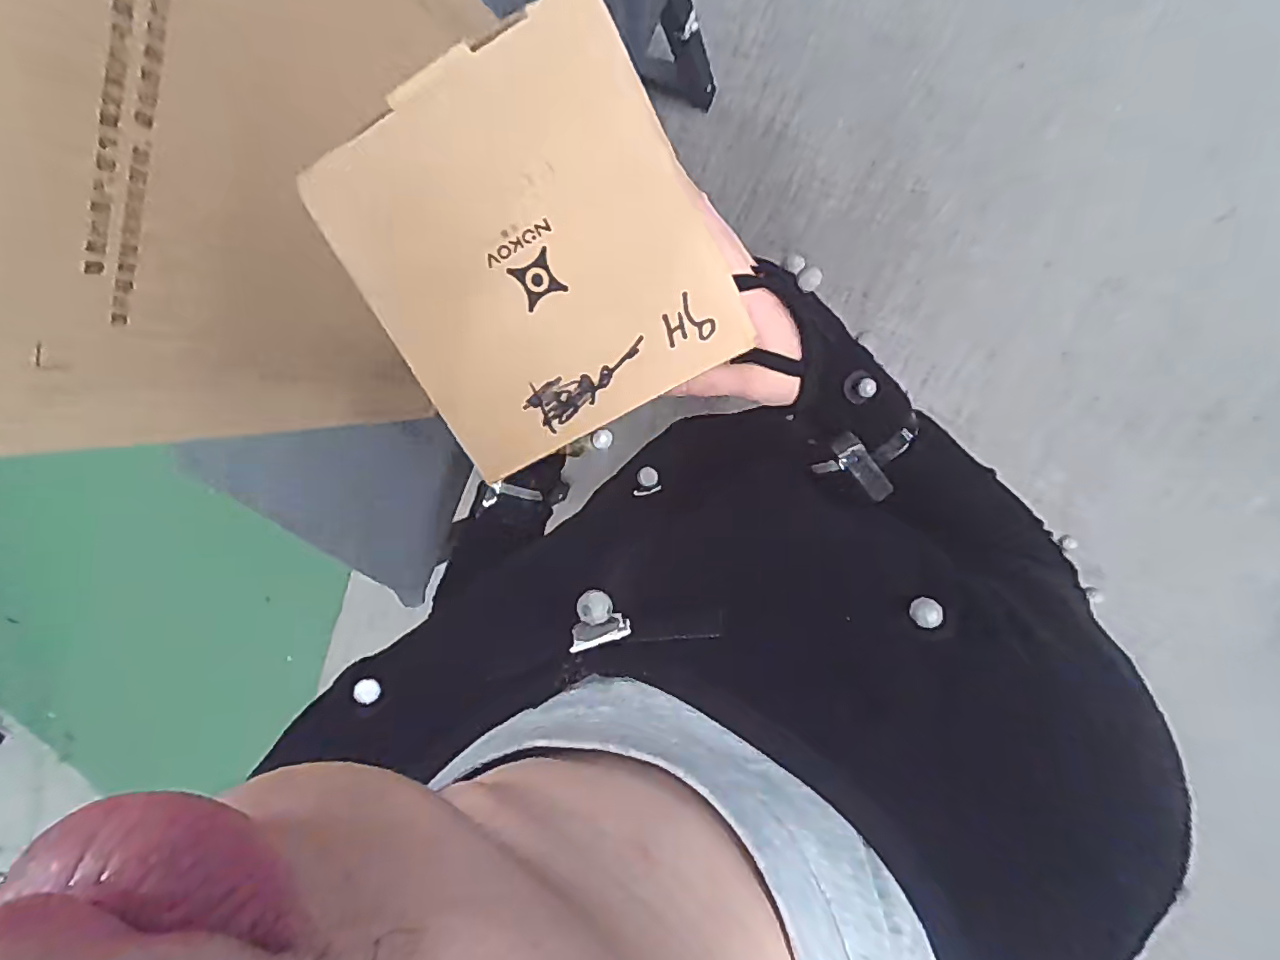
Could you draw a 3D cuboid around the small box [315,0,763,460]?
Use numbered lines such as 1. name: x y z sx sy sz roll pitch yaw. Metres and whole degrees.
1. small box: -0.042 -0.138 0.339 0.168 0.176 0.179 -25 103 12
